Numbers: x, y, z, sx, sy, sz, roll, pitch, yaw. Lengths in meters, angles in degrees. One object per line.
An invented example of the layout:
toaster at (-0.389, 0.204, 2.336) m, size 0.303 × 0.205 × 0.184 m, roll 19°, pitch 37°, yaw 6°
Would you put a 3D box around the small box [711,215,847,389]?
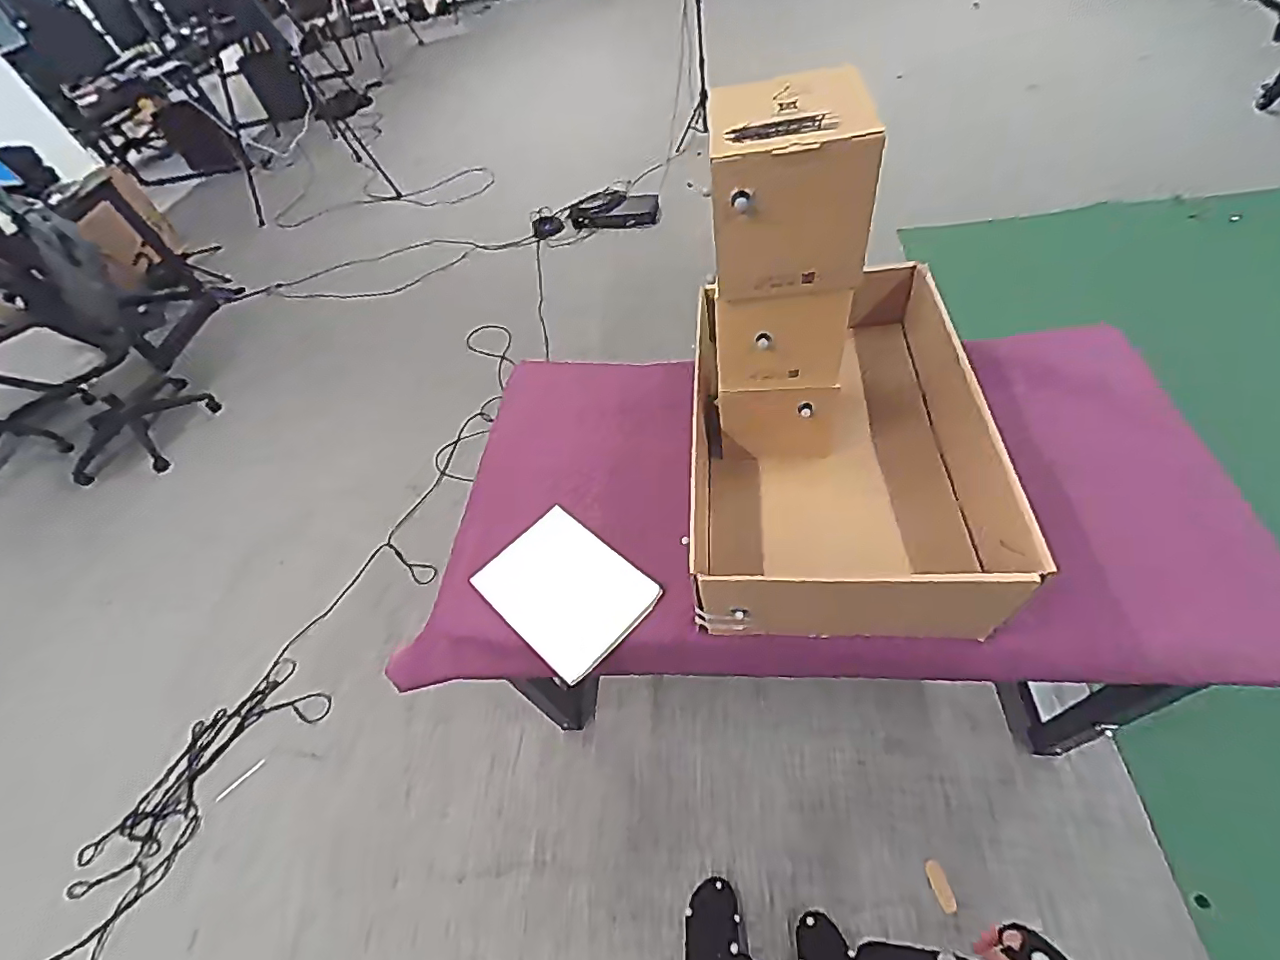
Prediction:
small box at (0.192, -0.243, 0.769) m, size 0.168 × 0.176 × 0.179 m, roll -1°, pitch 53°, yaw 12°
